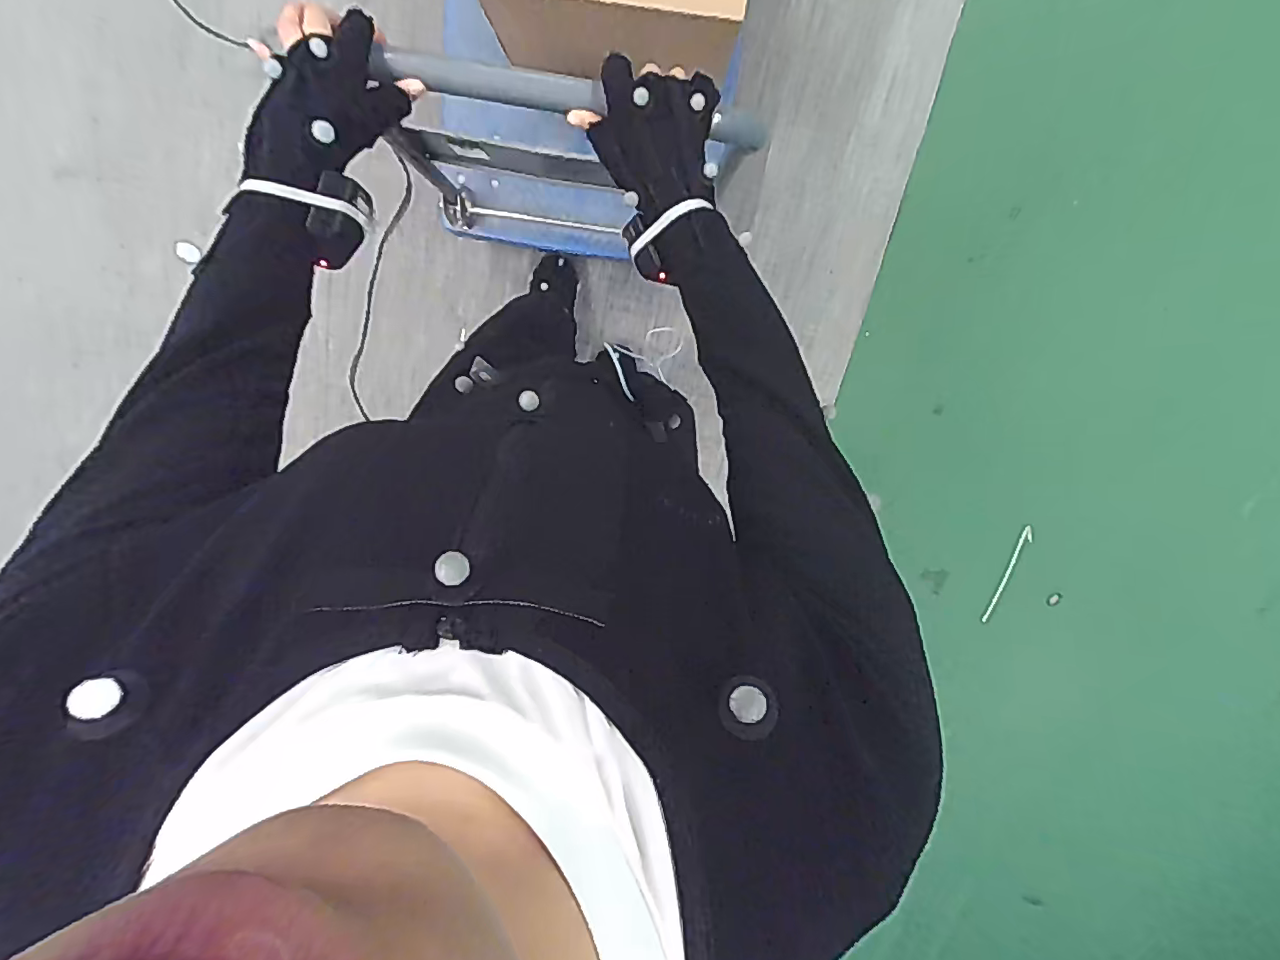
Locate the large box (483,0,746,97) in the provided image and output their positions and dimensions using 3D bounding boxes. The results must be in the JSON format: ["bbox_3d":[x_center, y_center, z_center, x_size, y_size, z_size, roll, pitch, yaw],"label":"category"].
[{"bbox_3d":[-0.024,-0.888,0.901,0.408,0.320,0.320,7,106,-1],"label":"large box"}]
